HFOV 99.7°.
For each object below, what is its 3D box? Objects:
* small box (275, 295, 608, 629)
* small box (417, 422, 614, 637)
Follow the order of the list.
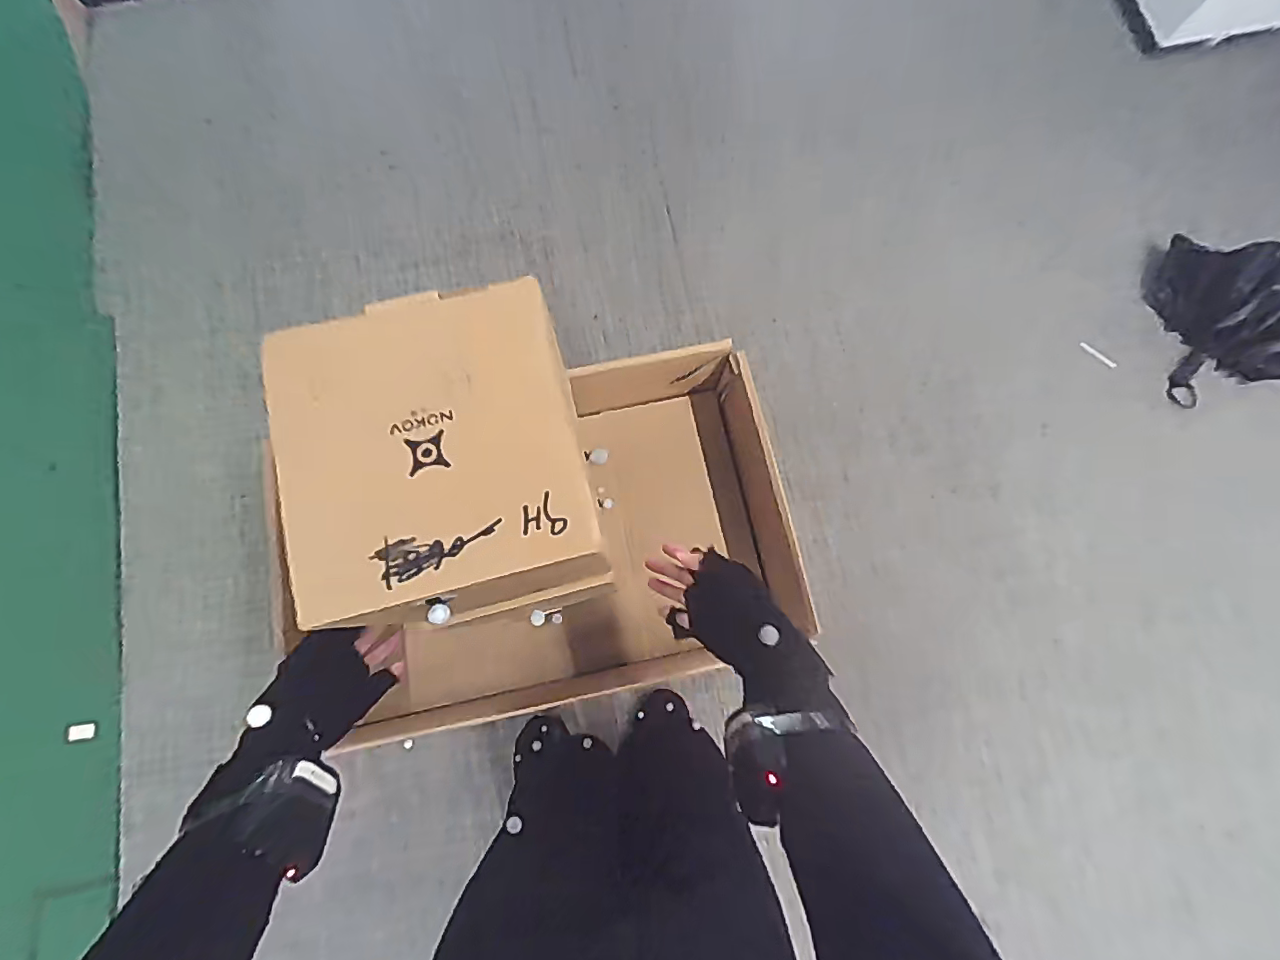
[{"bbox_3d":[-0.124,0.003,0.391,0.168,0.176,0.179,-14,76,-4],"label":"small box"},{"bbox_3d":[-0.125,0.051,0.547,0.168,0.176,0.179,-14,77,-4],"label":"small box"}]
